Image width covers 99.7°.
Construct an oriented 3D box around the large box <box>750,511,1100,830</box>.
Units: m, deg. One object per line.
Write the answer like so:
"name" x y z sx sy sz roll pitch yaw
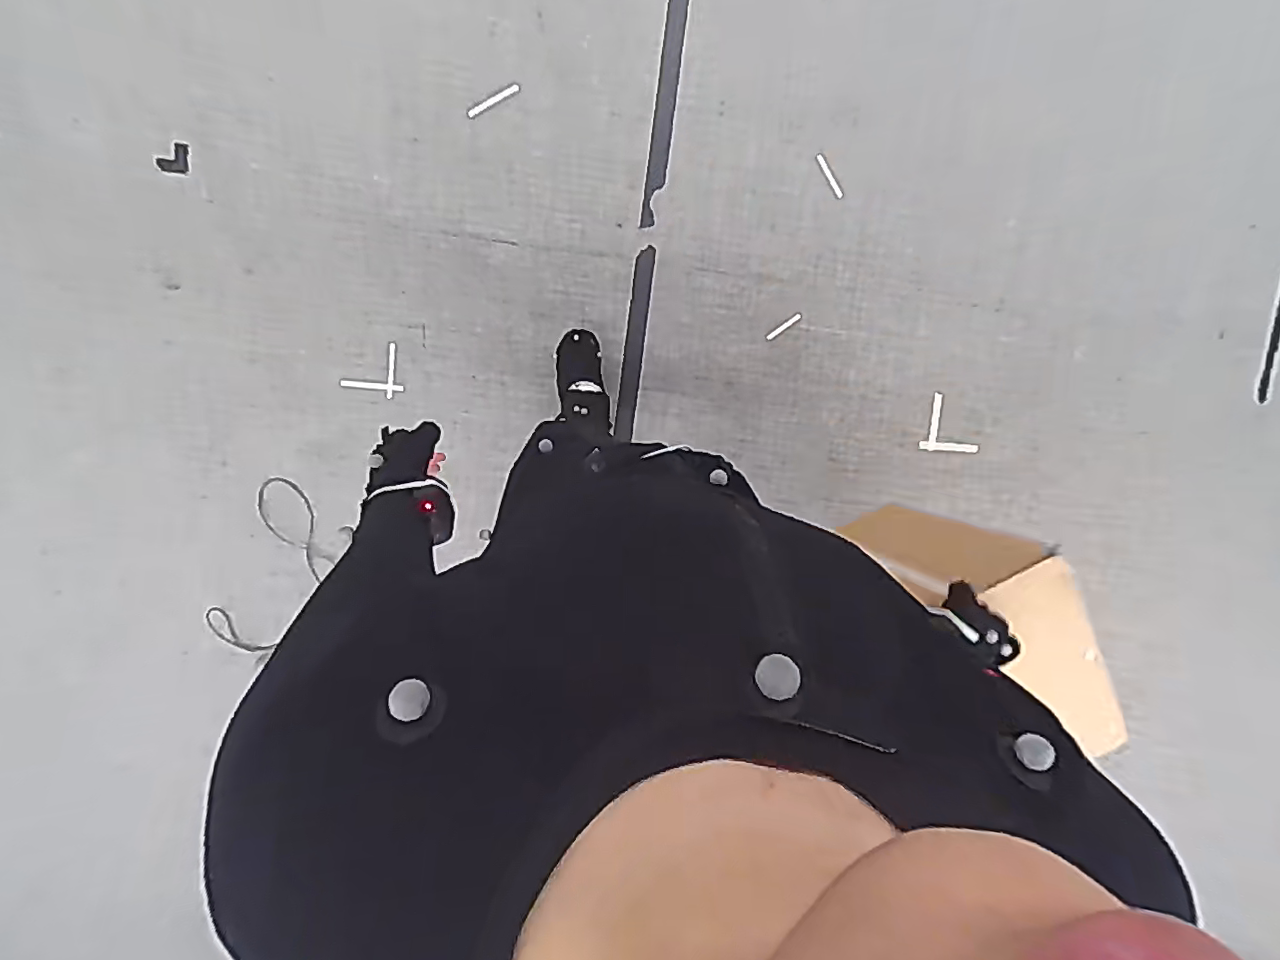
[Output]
"large box" 0.451 0.282 0.945 0.320 0.408 0.320 -27 99 -6
